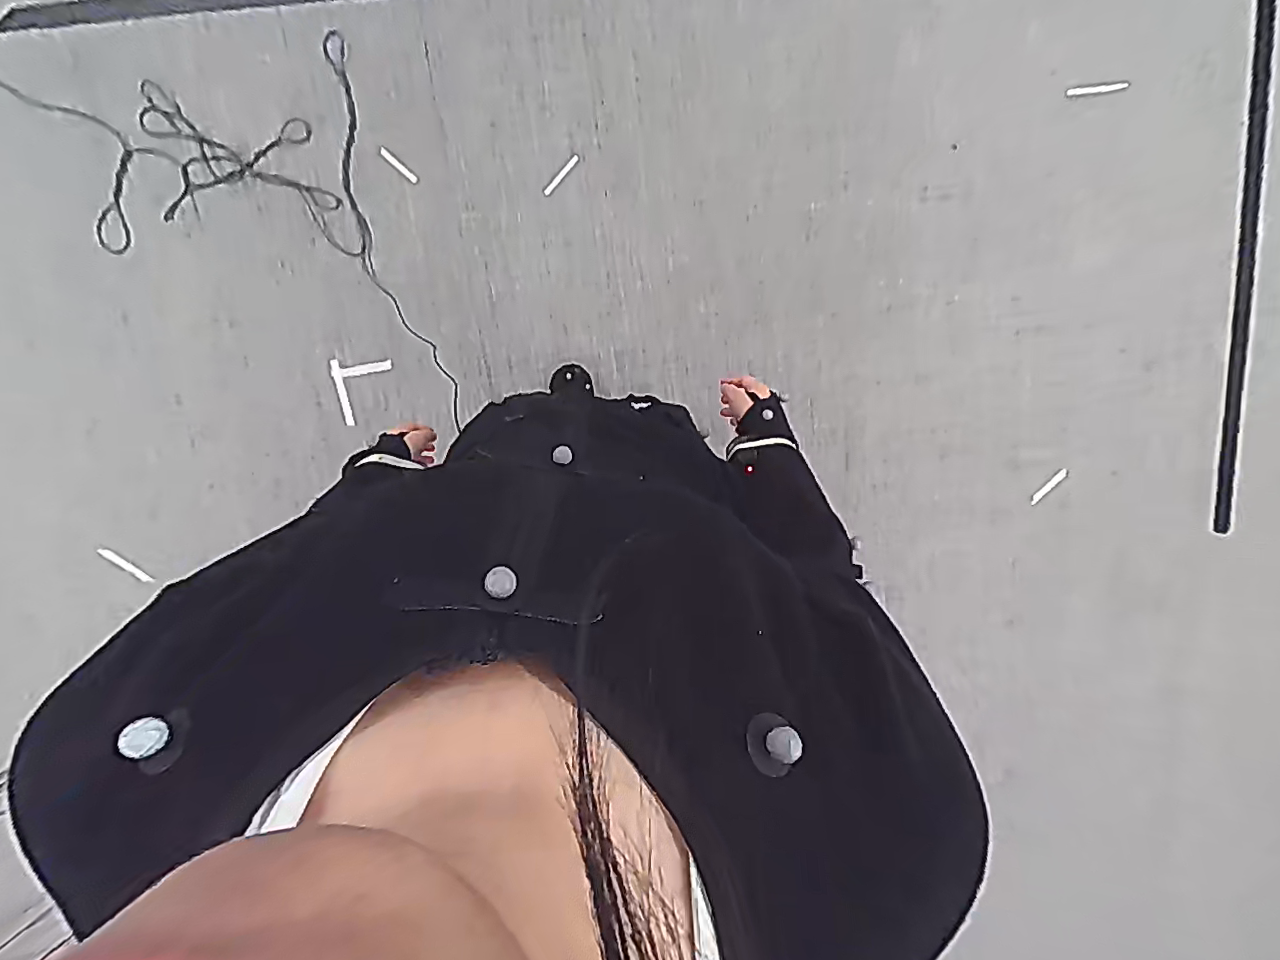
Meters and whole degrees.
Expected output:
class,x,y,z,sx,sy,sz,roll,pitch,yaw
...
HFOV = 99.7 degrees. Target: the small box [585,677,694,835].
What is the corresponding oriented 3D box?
class,x,y,z,sx,sy,sz,roll,pitch,yaw
small box,-0.003,0.444,0.897,0.168,0.176,0.179,-2,101,-1
